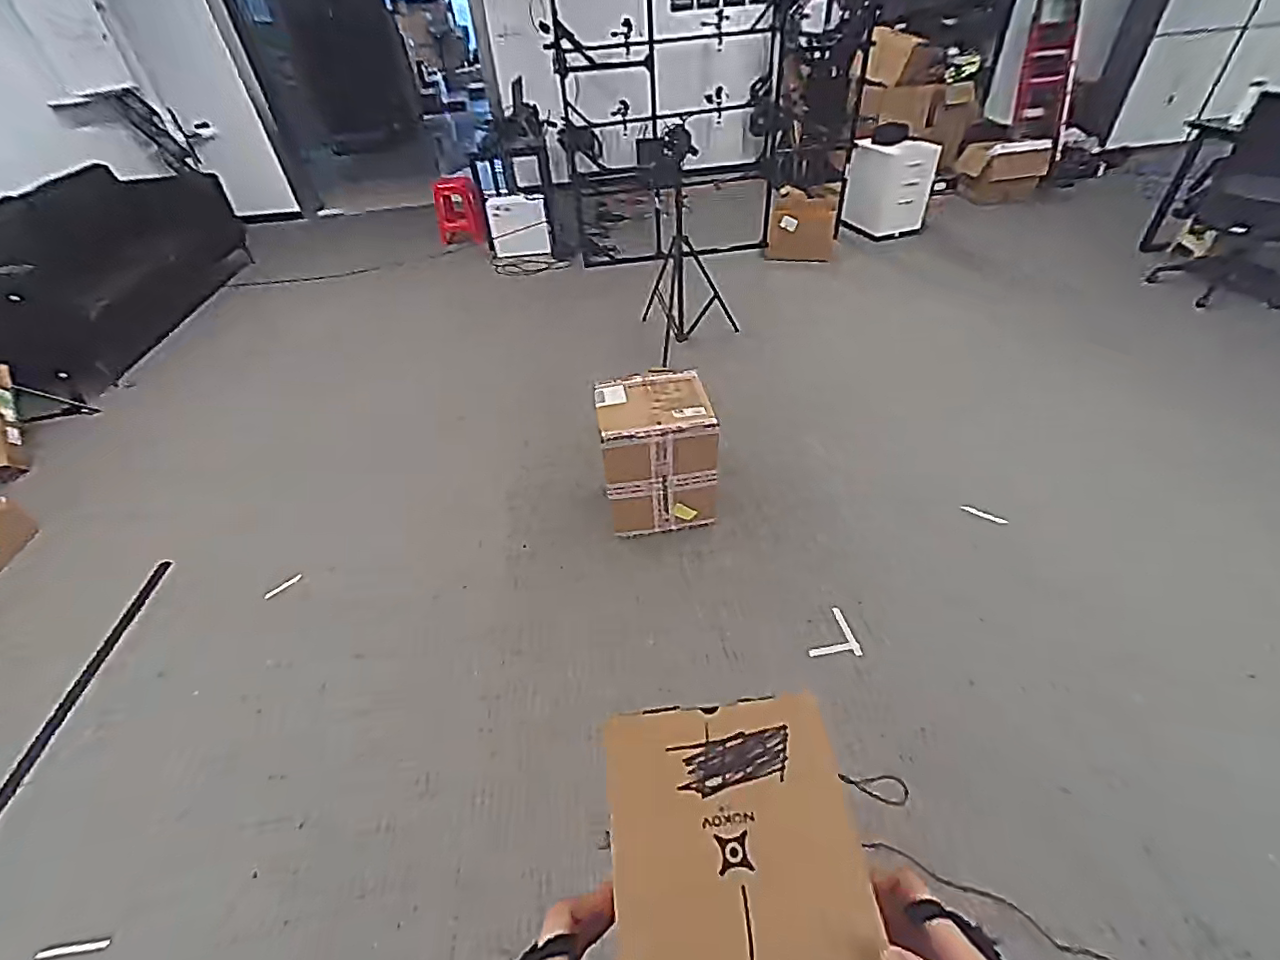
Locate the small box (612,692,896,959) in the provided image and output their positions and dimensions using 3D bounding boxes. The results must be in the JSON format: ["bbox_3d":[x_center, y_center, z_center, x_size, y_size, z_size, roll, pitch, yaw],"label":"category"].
[{"bbox_3d":[0.067,0.292,0.429,0.168,0.176,0.179,-6,51,-3],"label":"small box"}]
